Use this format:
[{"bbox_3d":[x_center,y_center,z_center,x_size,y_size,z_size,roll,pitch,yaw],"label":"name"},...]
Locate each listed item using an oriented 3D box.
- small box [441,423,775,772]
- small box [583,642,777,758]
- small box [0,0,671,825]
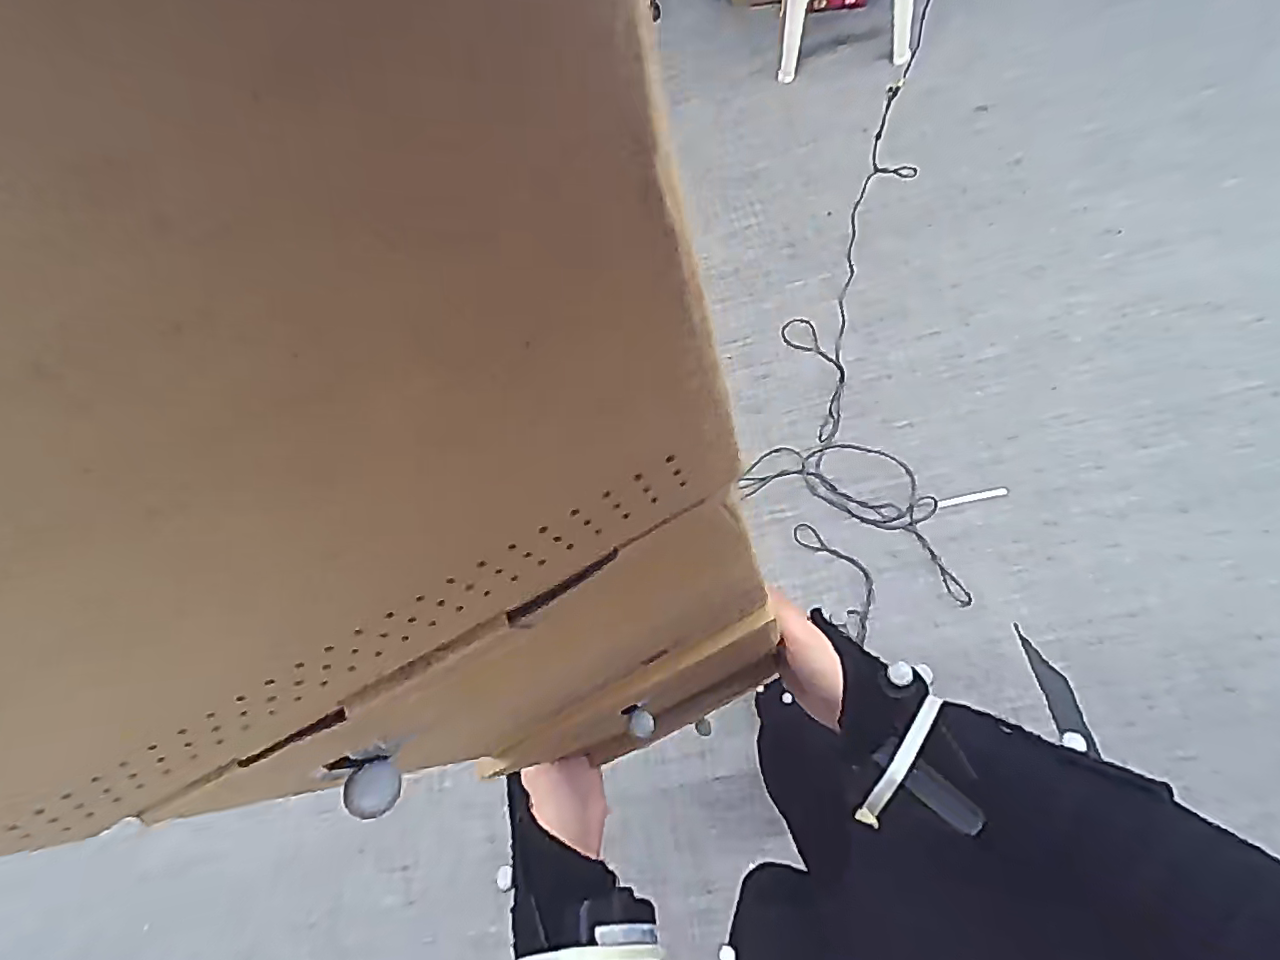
[{"bbox_3d":[-0.022,0.074,0.382,0.179,0.176,0.168,-30,64,3],"label":"small box"},{"bbox_3d":[0.017,0.141,0.525,0.168,0.176,0.179,-29,65,3],"label":"small box"},{"bbox_3d":[-0.107,-0.053,0.089,0.179,0.176,0.168,-29,63,3],"label":"small box"}]
